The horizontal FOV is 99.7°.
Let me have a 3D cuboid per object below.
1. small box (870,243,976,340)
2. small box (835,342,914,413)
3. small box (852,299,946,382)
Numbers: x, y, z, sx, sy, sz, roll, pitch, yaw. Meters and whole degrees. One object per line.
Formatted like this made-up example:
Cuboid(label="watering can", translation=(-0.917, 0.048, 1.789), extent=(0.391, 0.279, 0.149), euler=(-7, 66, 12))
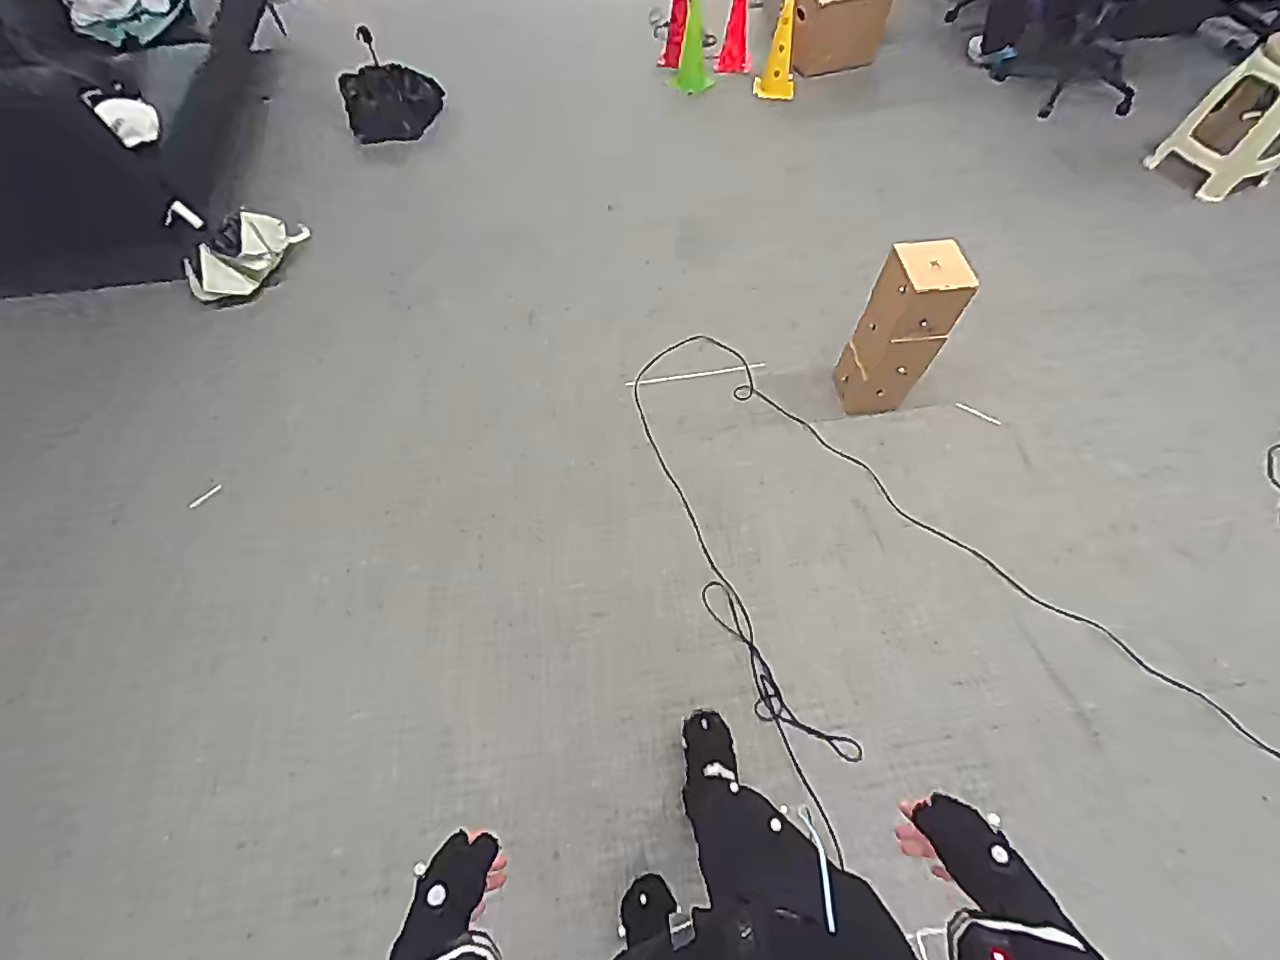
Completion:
Cuboid(label="small box", translation=(0.737, -0.496, 1.432), extent=(0.168, 0.176, 0.179), euler=(-6, 61, -3))
Cuboid(label="small box", translation=(0.735, -0.326, 1.711), extent=(0.179, 0.176, 0.168), euler=(-6, 61, -2))
Cuboid(label="small box", translation=(0.740, -0.408, 1.568), extent=(0.168, 0.176, 0.179), euler=(-5, 61, -2))
